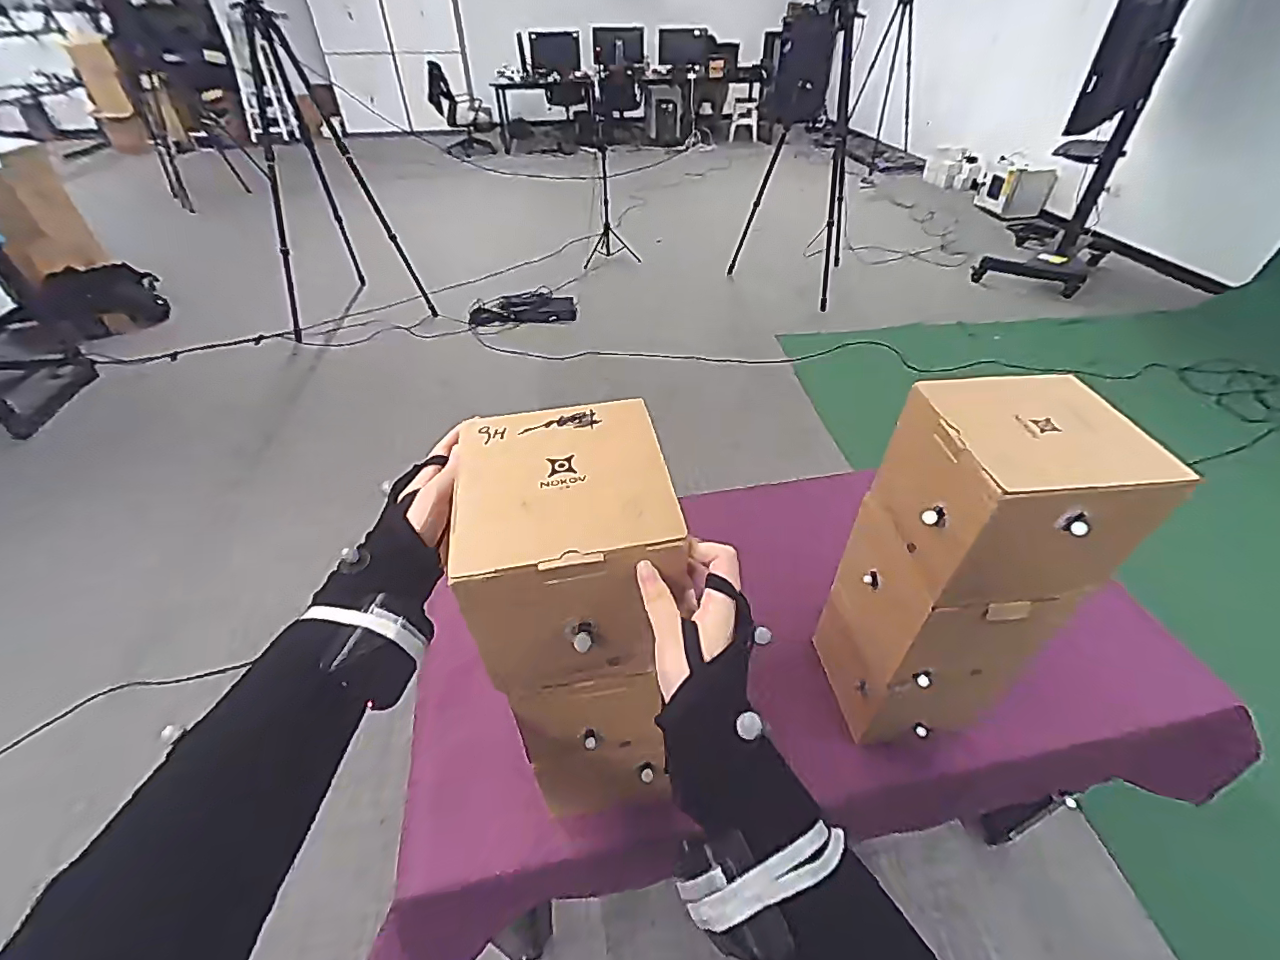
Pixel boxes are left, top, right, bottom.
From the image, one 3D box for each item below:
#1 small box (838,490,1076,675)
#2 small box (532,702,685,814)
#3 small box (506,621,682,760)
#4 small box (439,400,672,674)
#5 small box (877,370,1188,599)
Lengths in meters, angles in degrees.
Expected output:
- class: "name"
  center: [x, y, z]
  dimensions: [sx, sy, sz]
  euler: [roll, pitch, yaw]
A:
- class: "small box"
  center: [0.366, 0.124, 0.667]
  dimensions: [0.168, 0.176, 0.179]
  euler: [-5, 41, -3]
- class: "small box"
  center: [-0.044, 0.315, 0.716]
  dimensions: [0.179, 0.176, 0.168]
  euler: [-7, 41, -5]
- class: "small box"
  center: [-0.052, 0.187, 0.614]
  dimensions: [0.168, 0.176, 0.179]
  euler: [-6, 42, -5]
- class: "small box"
  center: [-0.066, 0.055, 0.483]
  dimensions: [0.168, 0.176, 0.179]
  euler: [-8, 45, -6]
- class: "small box"
  center: [0.364, 0.007, 0.553]
  dimensions: [0.179, 0.176, 0.168]
  euler: [-4, 43, -3]
